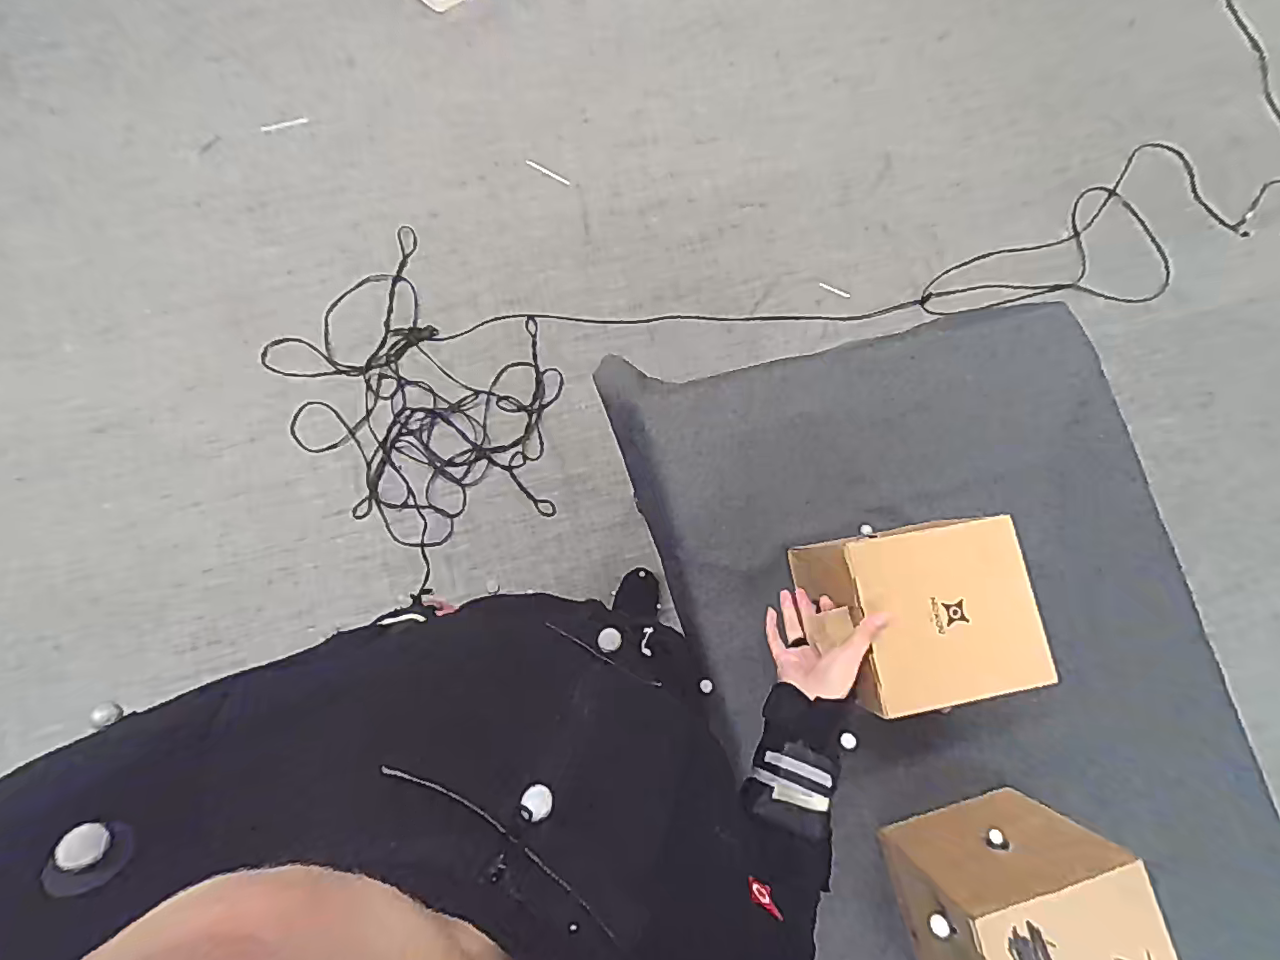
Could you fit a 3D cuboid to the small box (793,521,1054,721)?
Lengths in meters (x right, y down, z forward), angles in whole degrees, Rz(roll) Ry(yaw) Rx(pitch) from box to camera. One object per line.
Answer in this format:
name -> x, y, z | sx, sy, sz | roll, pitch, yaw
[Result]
small box -> 0.294, 0.143, 0.599 | 0.179, 0.176, 0.168 | -10, 82, -4
